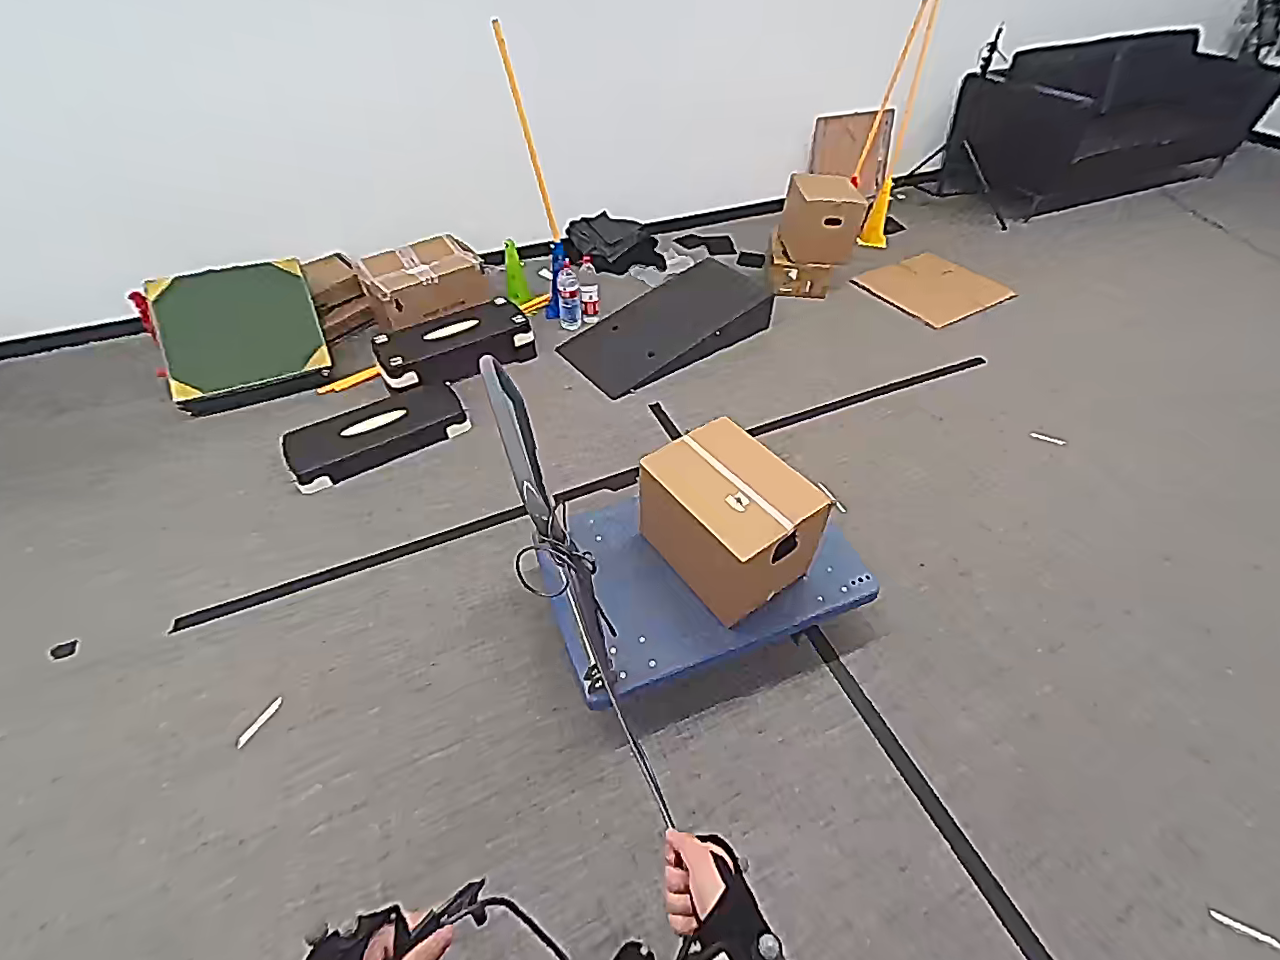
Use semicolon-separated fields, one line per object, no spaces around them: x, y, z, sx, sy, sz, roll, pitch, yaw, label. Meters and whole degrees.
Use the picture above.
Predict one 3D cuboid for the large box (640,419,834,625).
0.237;0.105;1.478;0.320;0.320;0.408;-29;54;-23;large box
